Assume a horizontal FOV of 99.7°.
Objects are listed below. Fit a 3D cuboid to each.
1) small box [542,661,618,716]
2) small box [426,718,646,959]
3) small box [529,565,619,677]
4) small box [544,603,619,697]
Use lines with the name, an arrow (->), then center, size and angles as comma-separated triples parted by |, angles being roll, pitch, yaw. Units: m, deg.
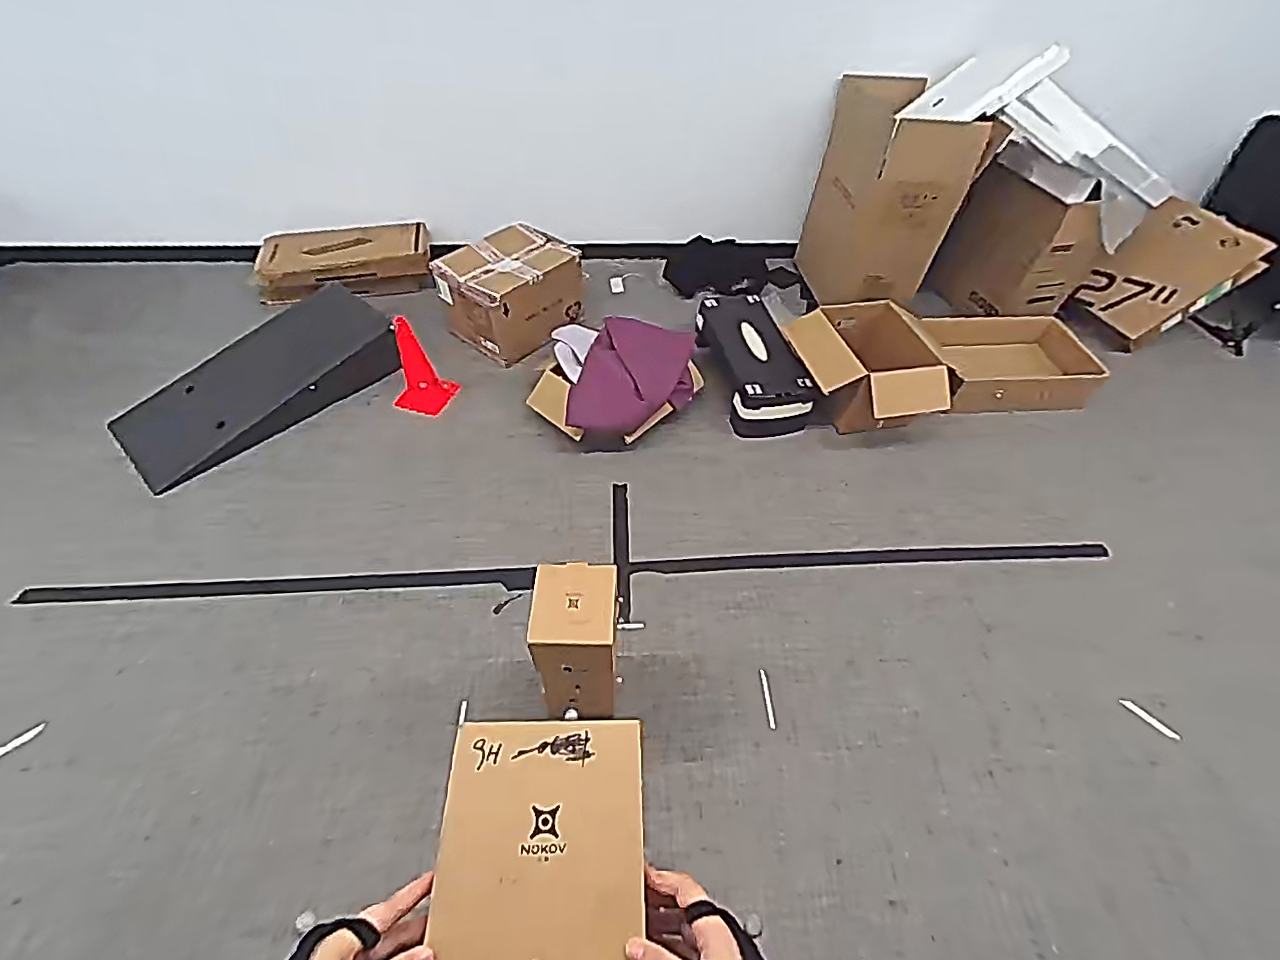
small box -> -0.147, 0.497, 1.386 | 0.179, 0.176, 0.168 | 2, 51, -1
small box -> -0.081, 0.333, 0.509 | 0.168, 0.176, 0.179 | 1, 55, -4
small box -> -0.130, 0.295, 1.129 | 0.168, 0.176, 0.179 | 1, 51, 0
small box -> -0.135, 0.388, 1.263 | 0.168, 0.176, 0.179 | 1, 51, -1
